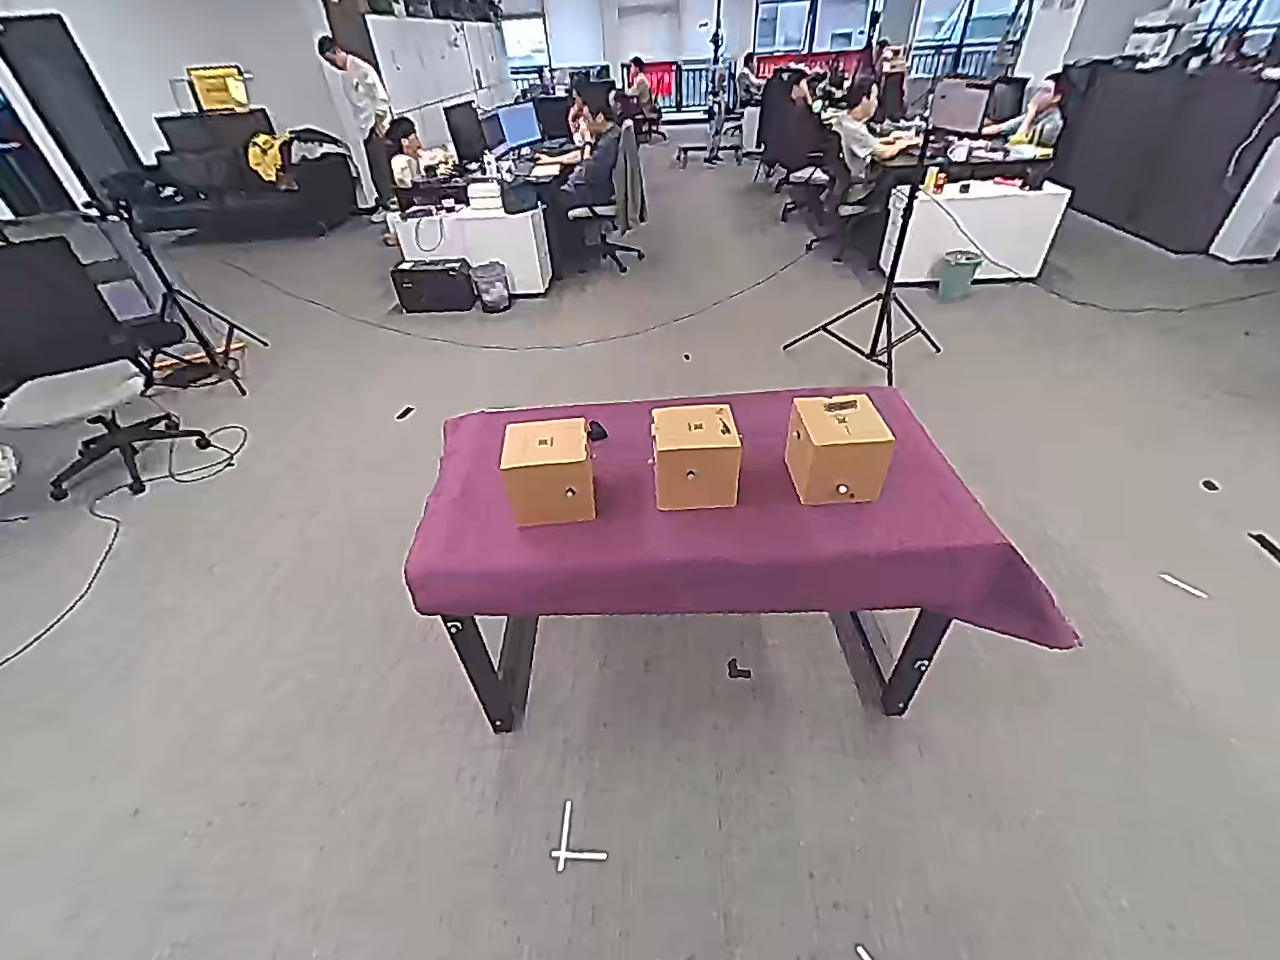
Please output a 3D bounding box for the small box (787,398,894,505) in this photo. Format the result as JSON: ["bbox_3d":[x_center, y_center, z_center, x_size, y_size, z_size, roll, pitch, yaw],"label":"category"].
[{"bbox_3d":[0.432,-0.063,1.200,0.168,0.176,0.179,-4,39,1],"label":"small box"}]

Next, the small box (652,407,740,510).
[{"bbox_3d":[0.122,-0.046,1.207,0.179,0.176,0.168,-4,39,1],"label":"small box"}]

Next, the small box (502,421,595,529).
[{"bbox_3d":[-0.192,-0.010,1.192,0.179,0.176,0.168,-7,38,-3],"label":"small box"}]
